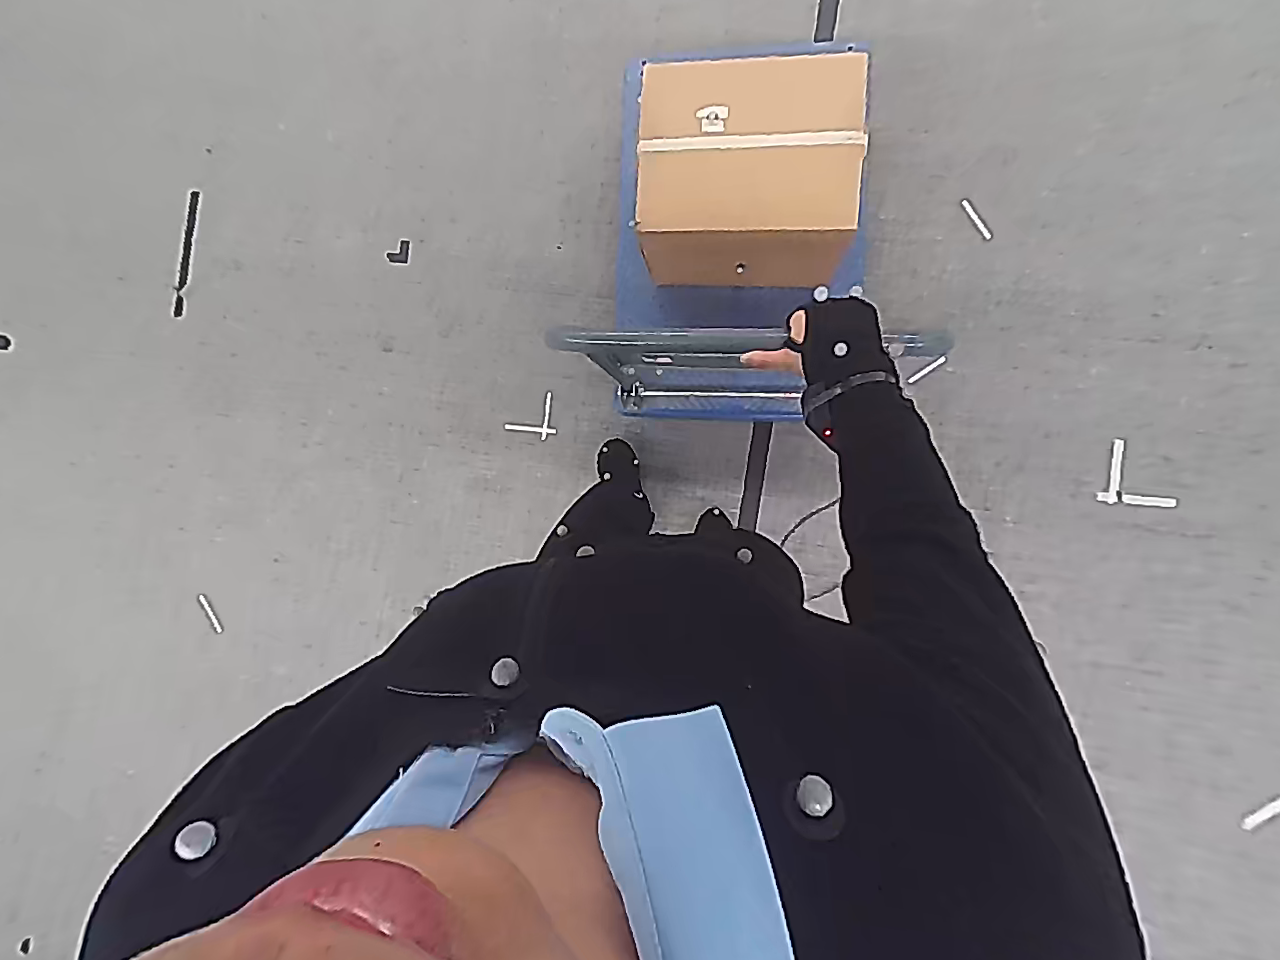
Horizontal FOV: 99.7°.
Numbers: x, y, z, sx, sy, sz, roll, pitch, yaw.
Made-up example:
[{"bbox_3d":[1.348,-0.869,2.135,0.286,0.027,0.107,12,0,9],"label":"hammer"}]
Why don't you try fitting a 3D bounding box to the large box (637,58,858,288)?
[{"bbox_3d":[0.221,-0.615,1.153,0.408,0.320,0.320,3,90,10],"label":"large box"}]
